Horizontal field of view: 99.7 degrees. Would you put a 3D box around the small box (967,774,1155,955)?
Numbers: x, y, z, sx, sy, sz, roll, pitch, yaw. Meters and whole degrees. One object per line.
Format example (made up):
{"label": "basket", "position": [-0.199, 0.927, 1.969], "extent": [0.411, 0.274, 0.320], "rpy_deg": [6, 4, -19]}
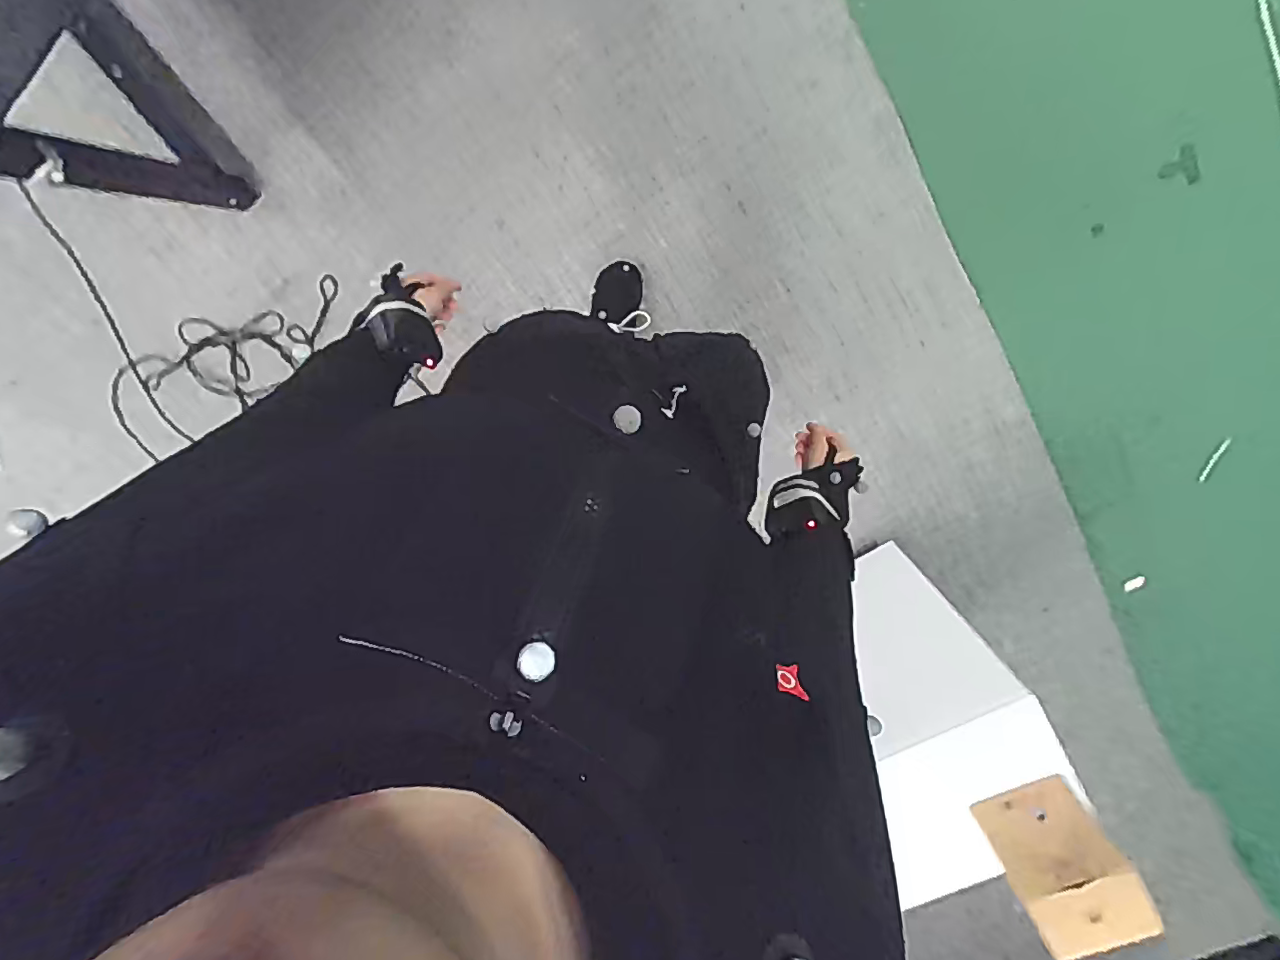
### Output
{"label": "small box", "position": [0.705, 0.648, 0.923], "extent": [0.168, 0.176, 0.179], "rpy_deg": [-30, 107, 12]}
